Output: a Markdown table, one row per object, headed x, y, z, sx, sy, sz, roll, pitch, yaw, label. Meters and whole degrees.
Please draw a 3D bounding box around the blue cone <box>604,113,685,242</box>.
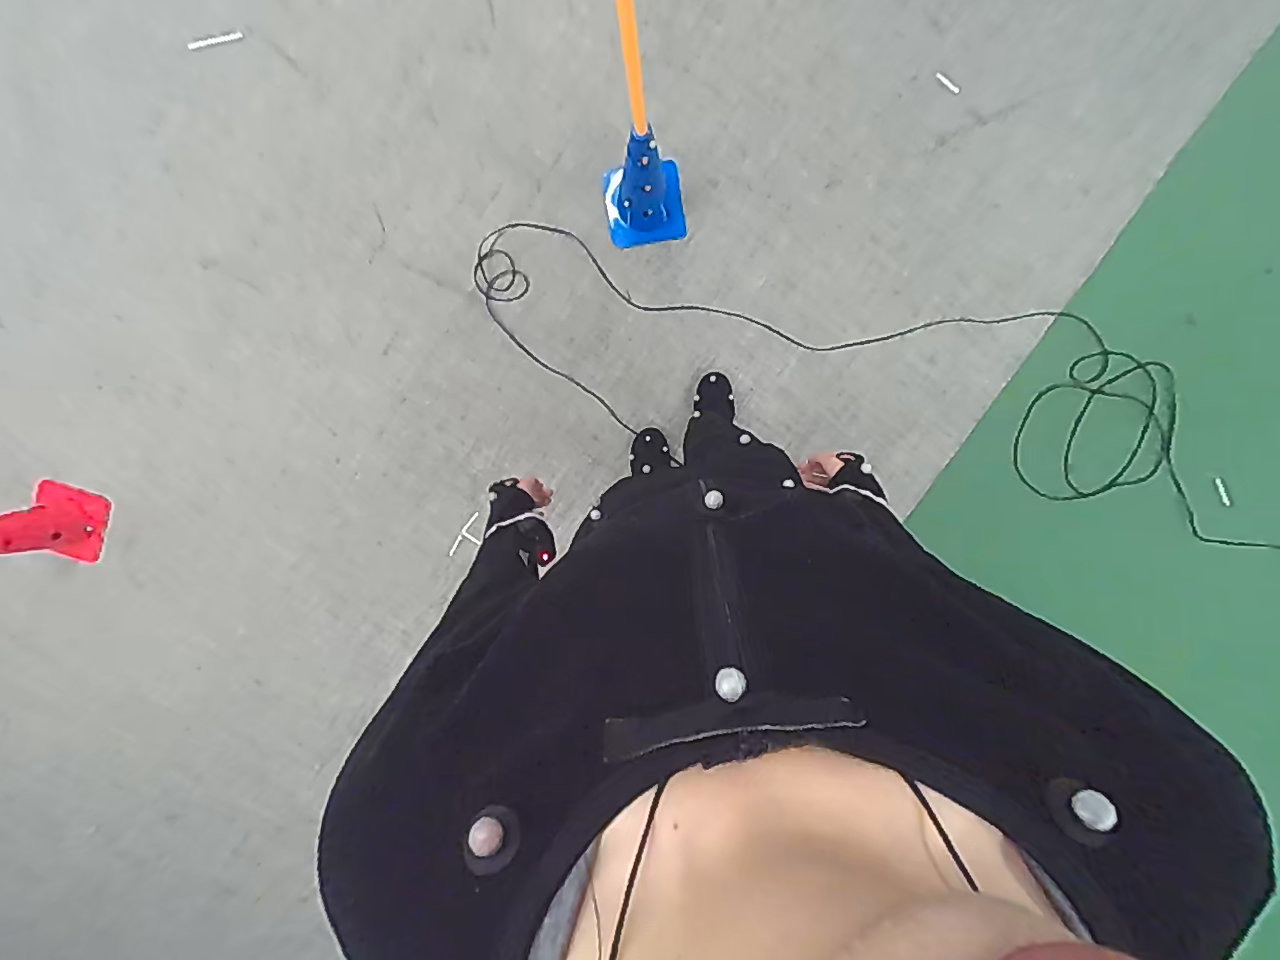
| x | y | z | sx | sy | sz | roll | pitch | yaw | label |
| --- | --- | --- | --- | --- | --- | --- | --- | --- | --- |
| 0.005 | -0.708 | 1.234 | 0.192 | 0.380 | 0.193 | -10 | 94 | 2 | blue cone |
